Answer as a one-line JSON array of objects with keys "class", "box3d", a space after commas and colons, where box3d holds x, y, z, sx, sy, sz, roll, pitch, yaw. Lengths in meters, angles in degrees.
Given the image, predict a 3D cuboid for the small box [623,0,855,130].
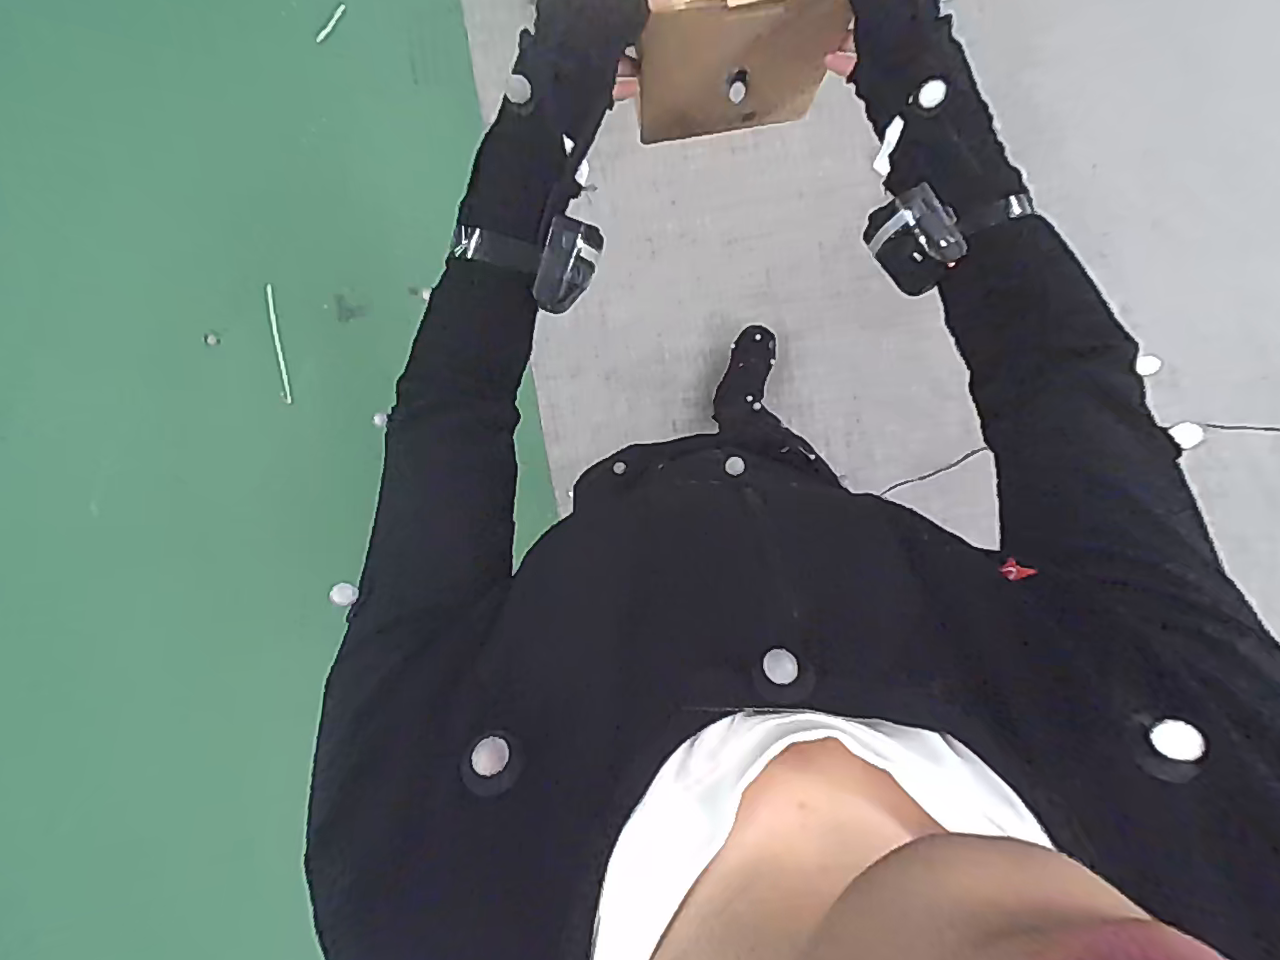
[{"class": "small box", "box3d": [0.072, -0.422, 0.446, 0.168, 0.176, 0.179, -9, 93, -1]}]
